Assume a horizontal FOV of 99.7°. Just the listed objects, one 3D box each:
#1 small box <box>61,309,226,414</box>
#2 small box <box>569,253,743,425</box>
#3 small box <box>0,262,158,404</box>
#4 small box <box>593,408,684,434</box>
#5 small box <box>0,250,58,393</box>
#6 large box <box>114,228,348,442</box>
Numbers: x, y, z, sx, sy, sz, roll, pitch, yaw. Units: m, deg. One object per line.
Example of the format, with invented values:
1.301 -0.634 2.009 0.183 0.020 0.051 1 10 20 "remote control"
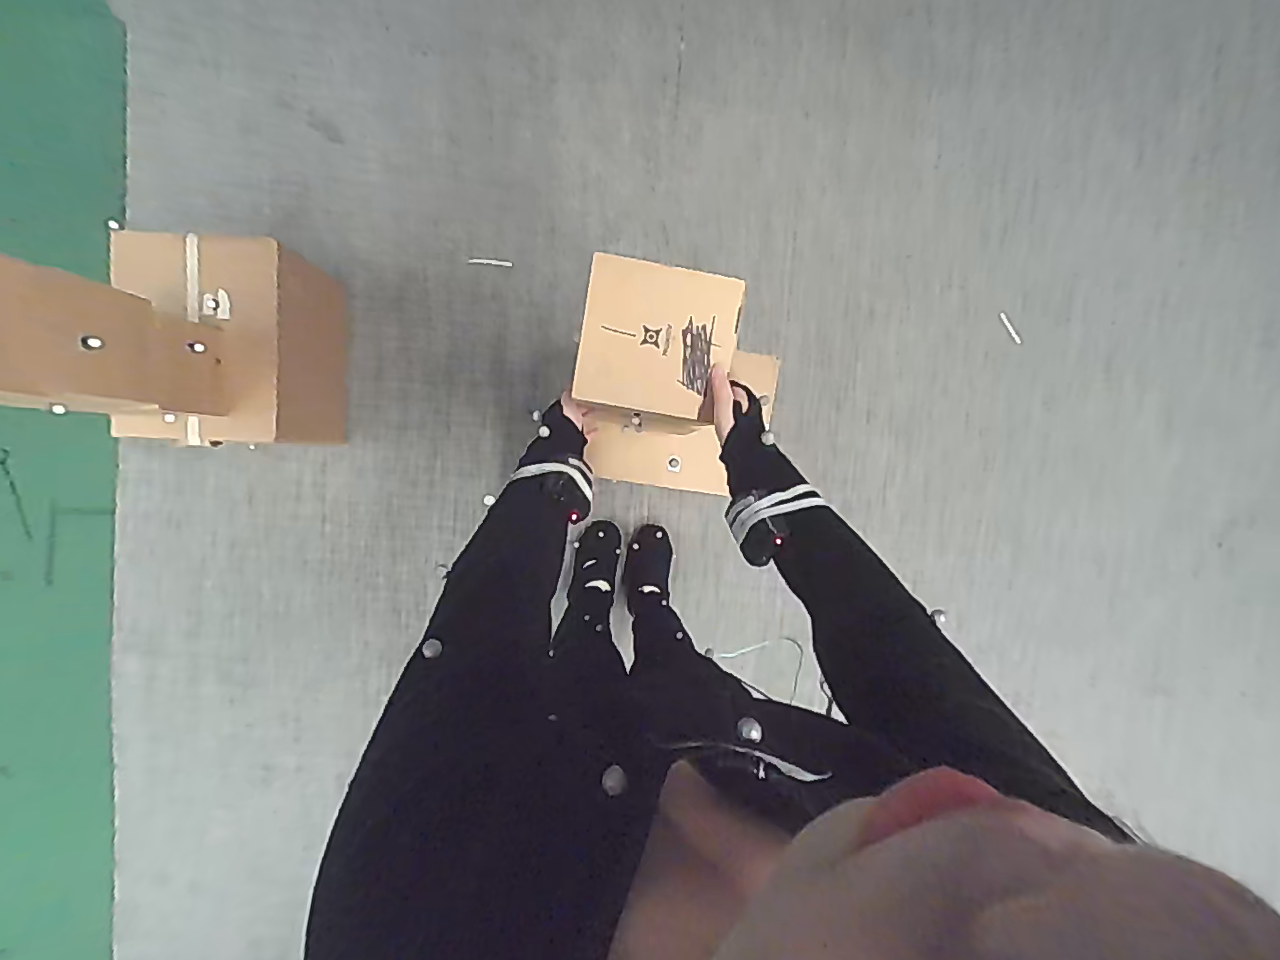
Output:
-0.883 -0.208 0.968 0.179 0.176 0.168 1 92 -3 "small box"
0.014 -0.165 0.685 0.179 0.176 0.168 9 95 -3 "small box"
-0.870 -0.207 0.805 0.168 0.176 0.179 -3 92 -4 "small box"
0.007 -0.186 1.034 0.168 0.176 0.179 9 91 -5 "small box"
-0.857 -0.197 0.641 0.168 0.176 0.179 -1 93 -4 "small box"
-0.879 -0.290 1.209 0.320 0.320 0.408 2 92 -4 "large box"
